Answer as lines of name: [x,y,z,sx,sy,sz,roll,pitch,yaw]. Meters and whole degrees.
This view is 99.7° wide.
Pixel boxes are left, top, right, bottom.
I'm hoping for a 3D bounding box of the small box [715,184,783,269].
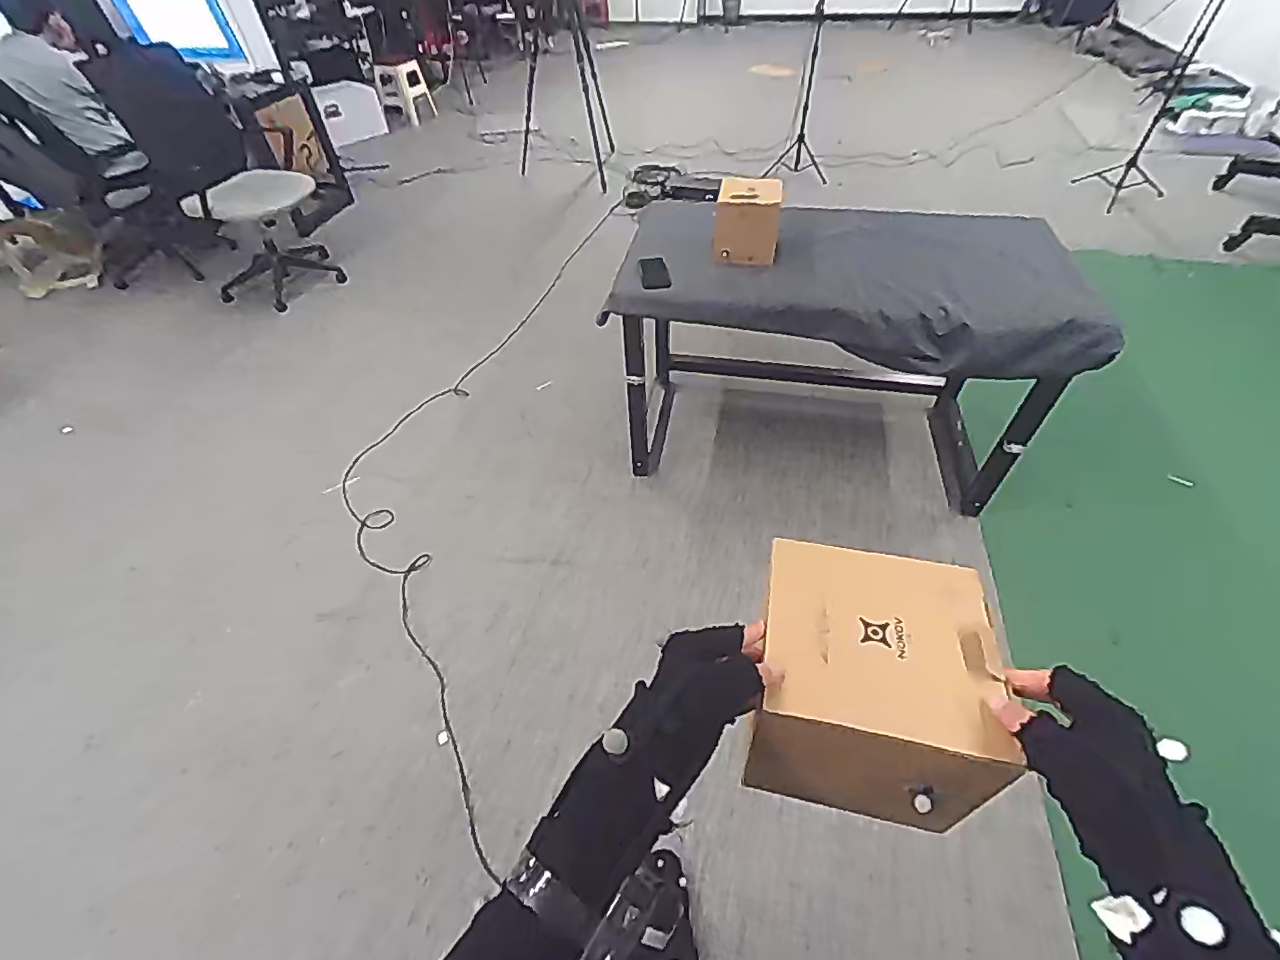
small box: [0.302,-0.708,1.512,0.168,0.176,0.179,7,47,8]
